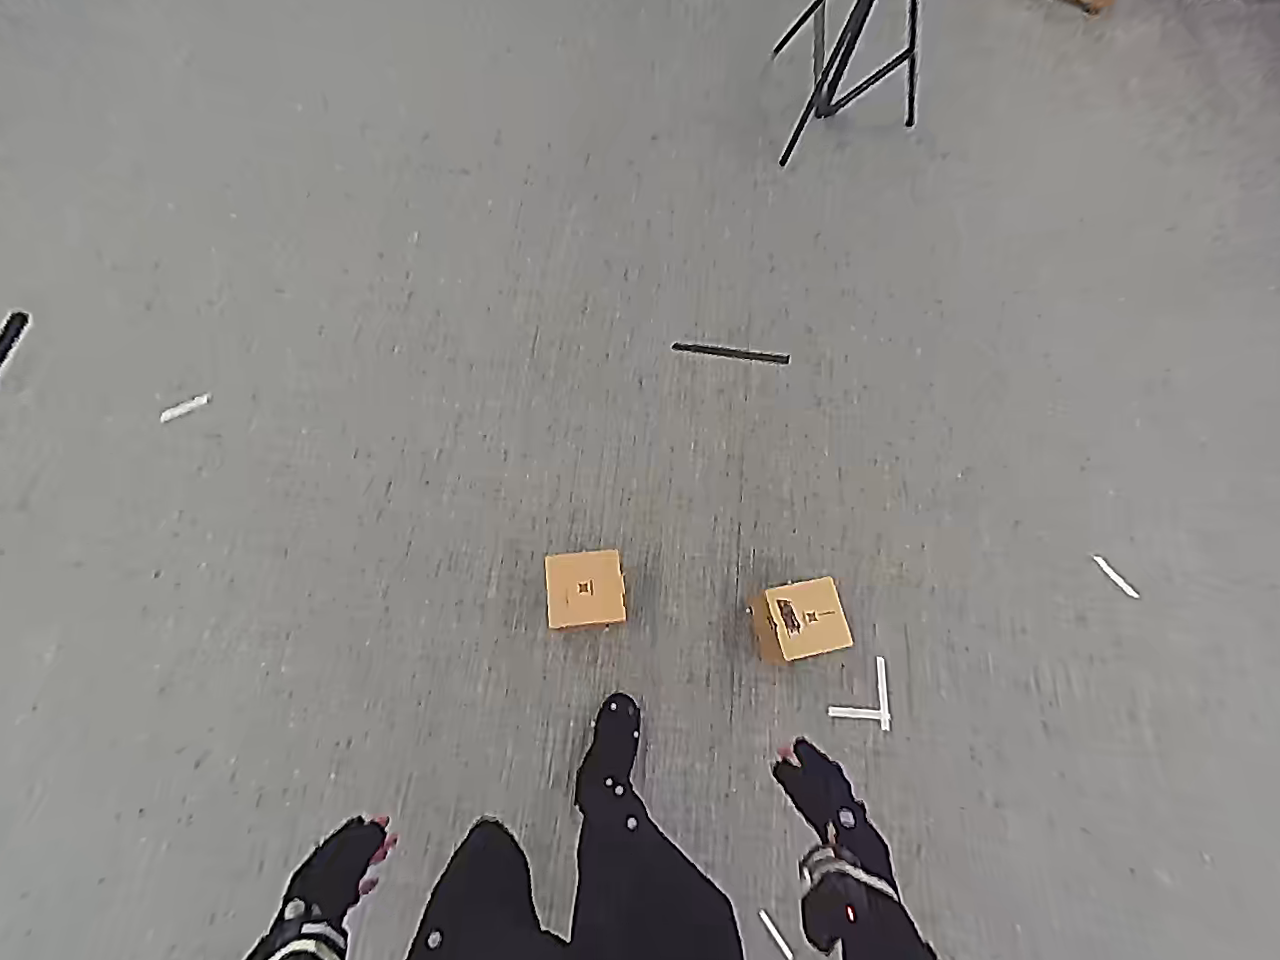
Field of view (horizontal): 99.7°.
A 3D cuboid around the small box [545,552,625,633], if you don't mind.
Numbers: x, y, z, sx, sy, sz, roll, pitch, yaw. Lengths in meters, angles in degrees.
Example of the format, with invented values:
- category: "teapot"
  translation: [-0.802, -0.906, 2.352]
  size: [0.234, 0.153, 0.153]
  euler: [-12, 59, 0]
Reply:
- category: "small box"
  translation: [-0.134, 0.276, 1.310]
  size: [0.179, 0.176, 0.168]
  euler: [-5, 70, -6]

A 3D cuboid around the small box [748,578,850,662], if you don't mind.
- category: "small box"
  translation: [0.378, 0.349, 1.331]
  size: [0.179, 0.176, 0.168]
  euler: [-10, 72, -9]
